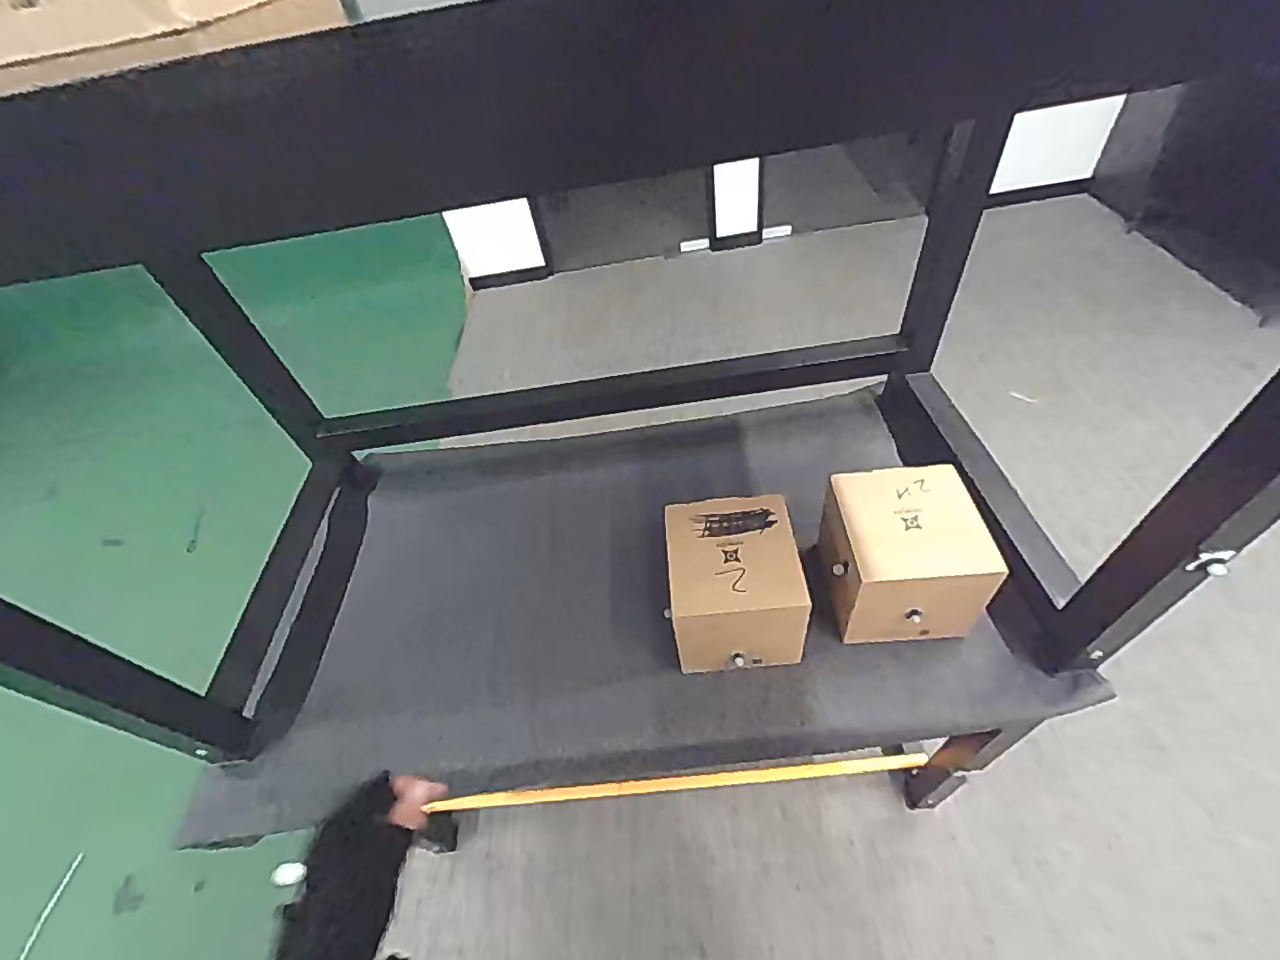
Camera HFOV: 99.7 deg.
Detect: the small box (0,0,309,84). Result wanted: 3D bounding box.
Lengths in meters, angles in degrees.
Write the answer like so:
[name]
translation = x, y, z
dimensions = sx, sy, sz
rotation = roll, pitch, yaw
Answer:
[small box]
translation = -0.291, -0.301, 0.247
dimensions = 0.168, 0.176, 0.179
rotation = -6, 48, 6
